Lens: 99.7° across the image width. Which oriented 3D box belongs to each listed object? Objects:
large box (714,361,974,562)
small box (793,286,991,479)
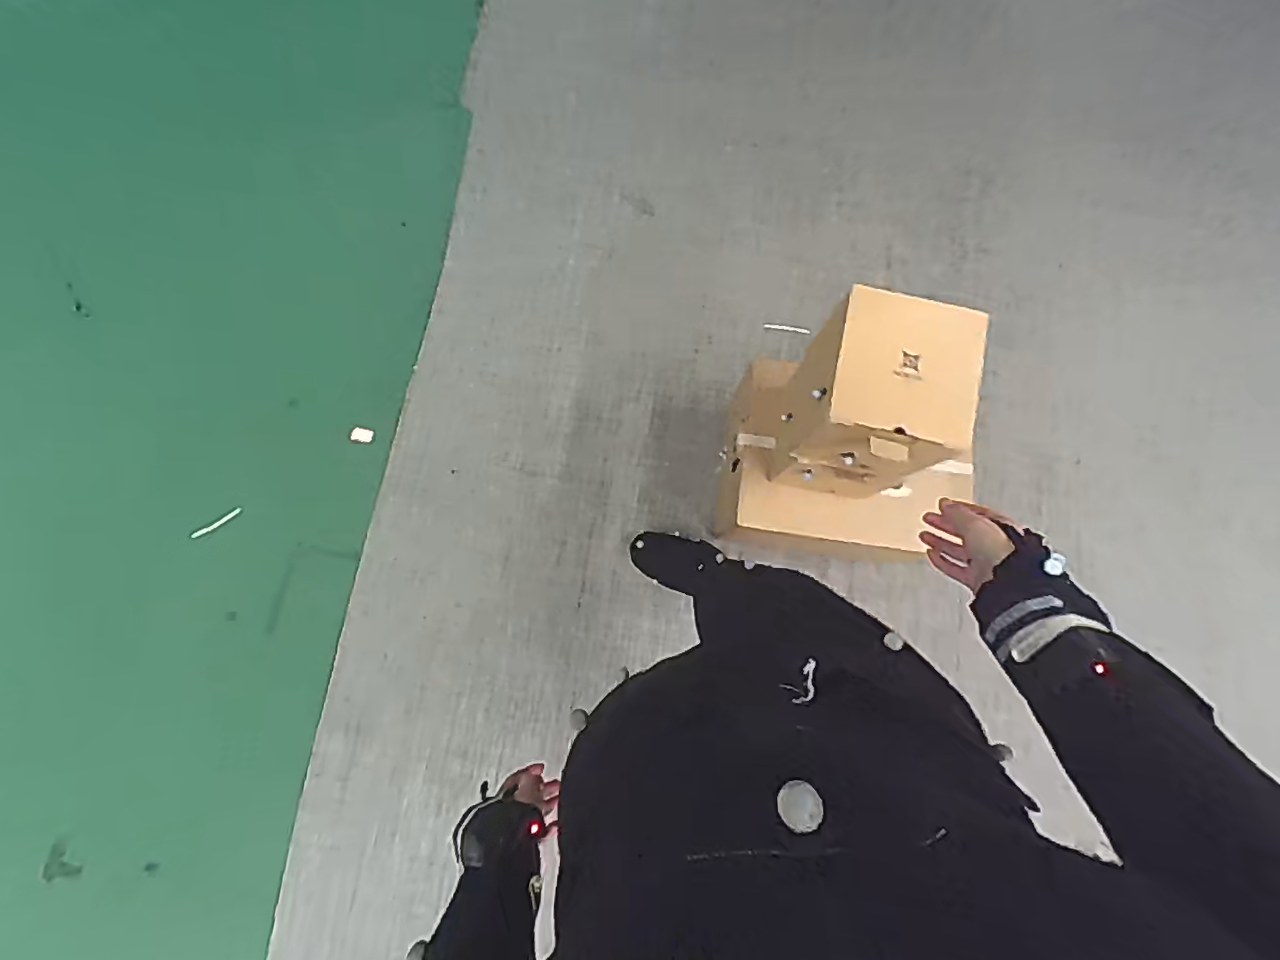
[{"bbox_3d":[0.382,-0.016,1.095,0.408,0.320,0.320,8,81,0],"label":"large box"},{"bbox_3d":[0.311,-0.114,0.699,0.168,0.176,0.179,14,80,2],"label":"small box"}]
